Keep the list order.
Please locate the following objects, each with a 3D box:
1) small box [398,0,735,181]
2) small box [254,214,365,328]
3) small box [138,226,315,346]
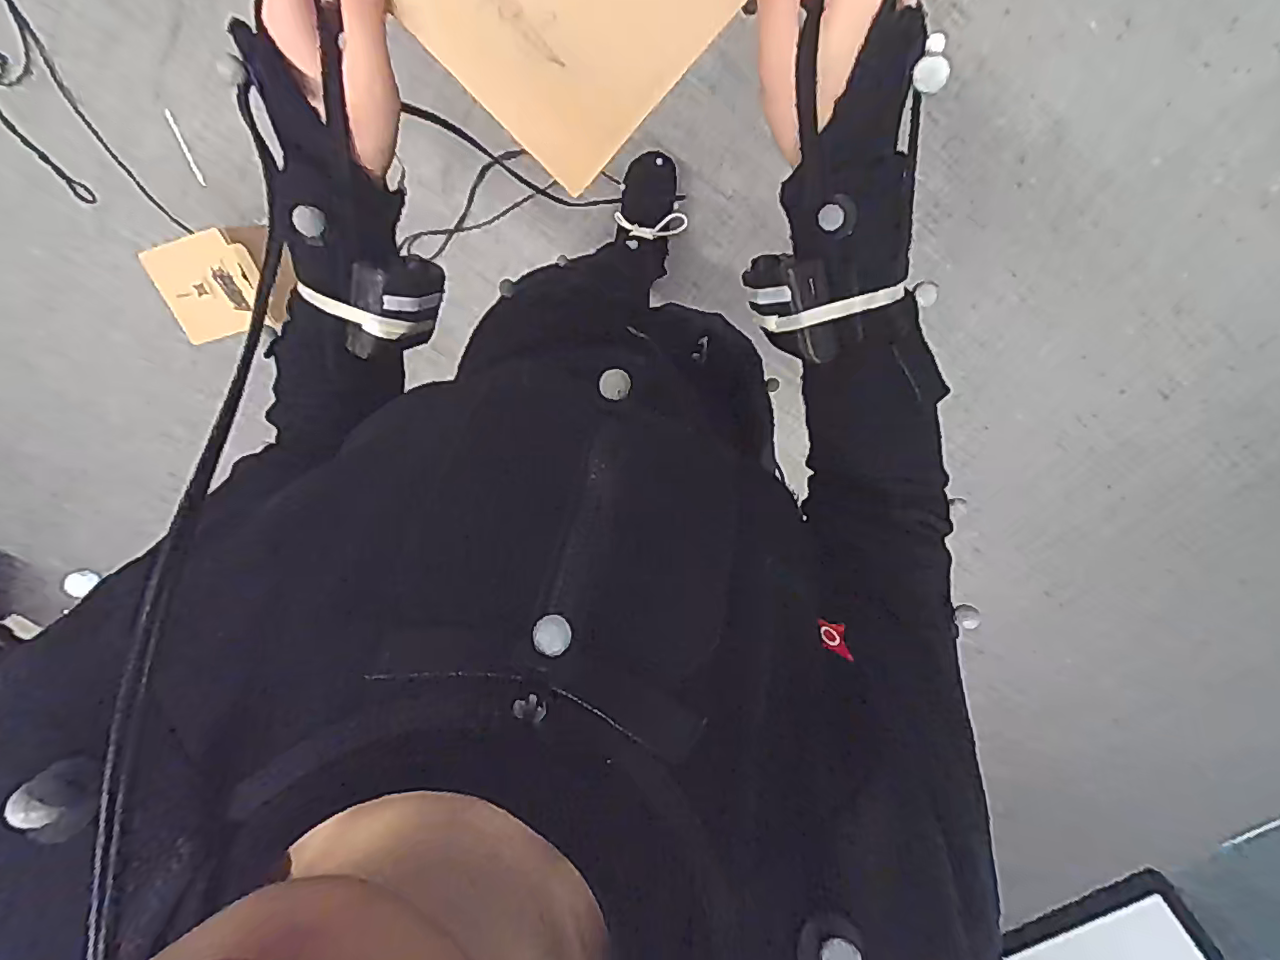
[{"bbox_3d":[-0.028,-0.313,0.291,0.168,0.176,0.179,36,127,-27],"label":"small box"},{"bbox_3d":[-0.734,-0.451,1.158,0.168,0.176,0.179,-17,115,12],"label":"small box"},{"bbox_3d":[-0.752,-0.368,1.015,0.179,0.176,0.168,-12,115,10],"label":"small box"}]
